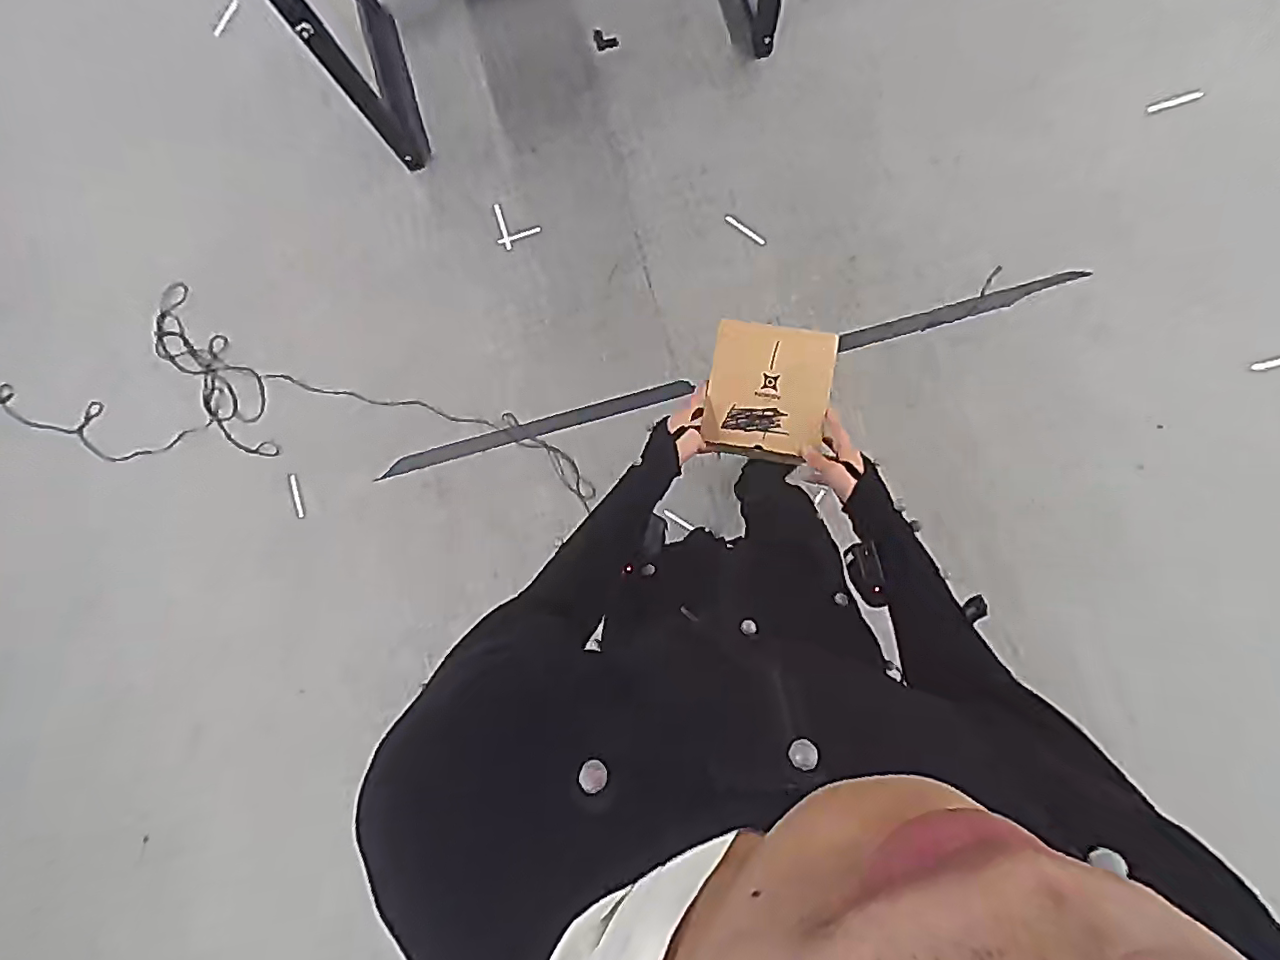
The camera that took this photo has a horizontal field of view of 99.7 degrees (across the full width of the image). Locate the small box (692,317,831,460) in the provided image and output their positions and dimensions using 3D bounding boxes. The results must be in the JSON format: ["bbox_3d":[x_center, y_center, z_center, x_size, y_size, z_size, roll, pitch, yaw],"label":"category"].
[{"bbox_3d":[0.174,-0.127,0.815,0.168,0.176,0.179,9,90,5],"label":"small box"}]
